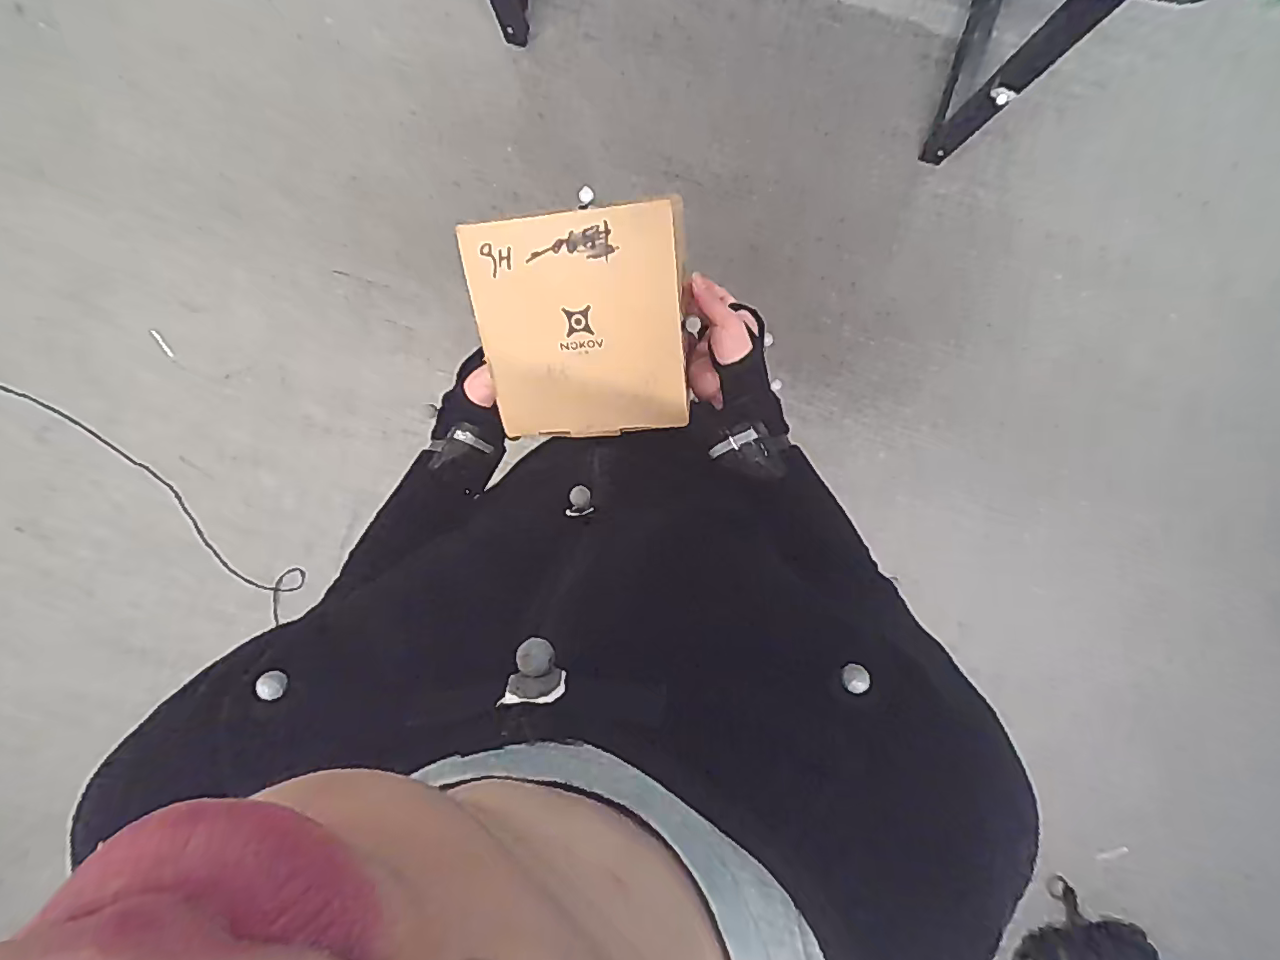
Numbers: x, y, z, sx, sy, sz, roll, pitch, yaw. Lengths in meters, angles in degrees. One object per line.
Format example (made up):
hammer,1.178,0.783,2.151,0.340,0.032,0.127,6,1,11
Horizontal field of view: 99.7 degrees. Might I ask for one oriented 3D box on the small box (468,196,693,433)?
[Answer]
small box,-0.036,-0.161,0.514,0.168,0.176,0.179,-3,120,7
